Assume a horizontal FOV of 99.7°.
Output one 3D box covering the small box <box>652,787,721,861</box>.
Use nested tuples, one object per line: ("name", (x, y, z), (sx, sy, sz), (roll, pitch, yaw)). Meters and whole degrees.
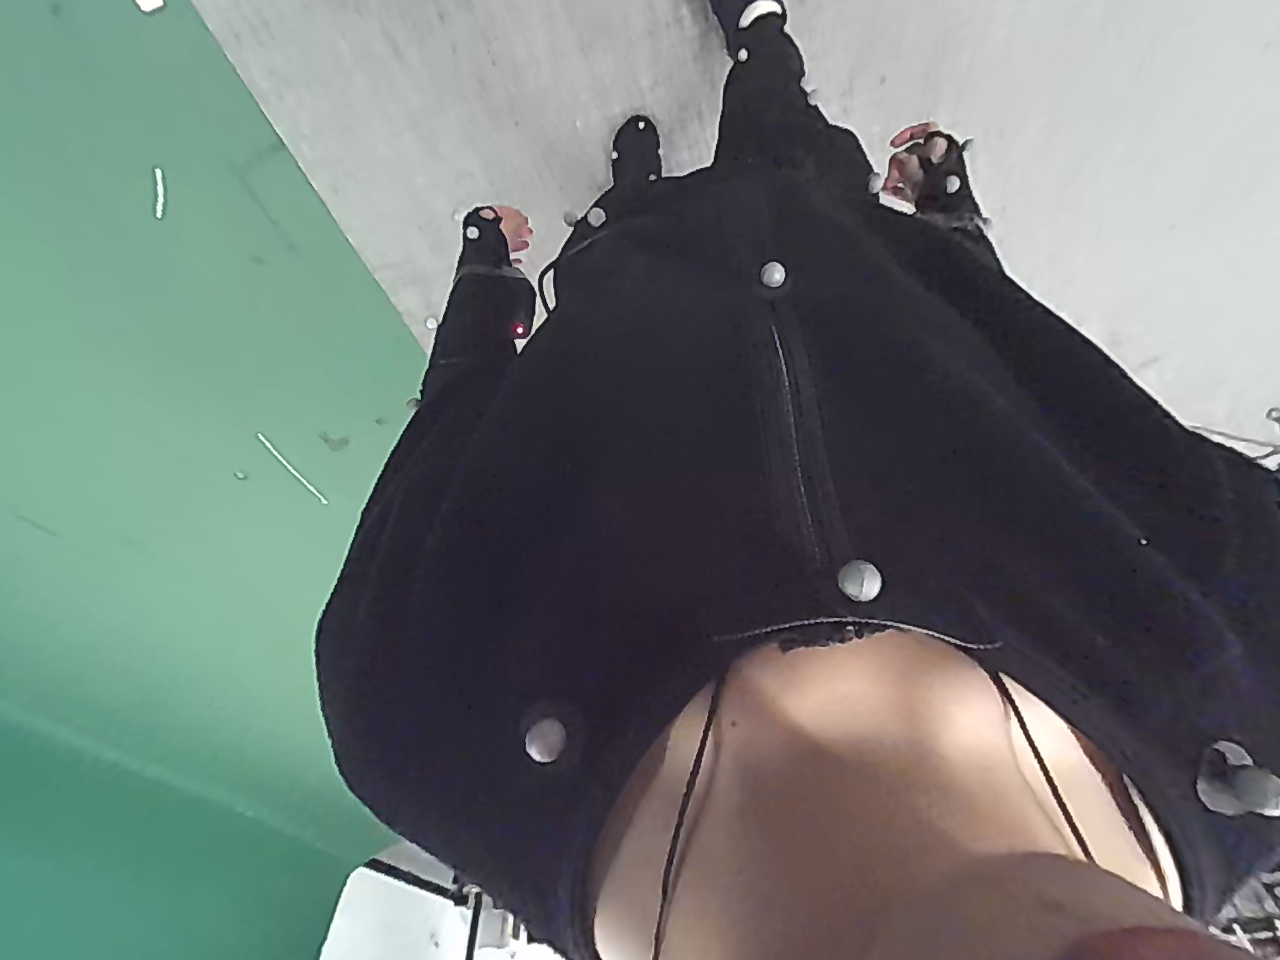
("small box", (0.147, 1.093, 1.701), (0.179, 0.176, 0.168), (-18, 129, 14))
